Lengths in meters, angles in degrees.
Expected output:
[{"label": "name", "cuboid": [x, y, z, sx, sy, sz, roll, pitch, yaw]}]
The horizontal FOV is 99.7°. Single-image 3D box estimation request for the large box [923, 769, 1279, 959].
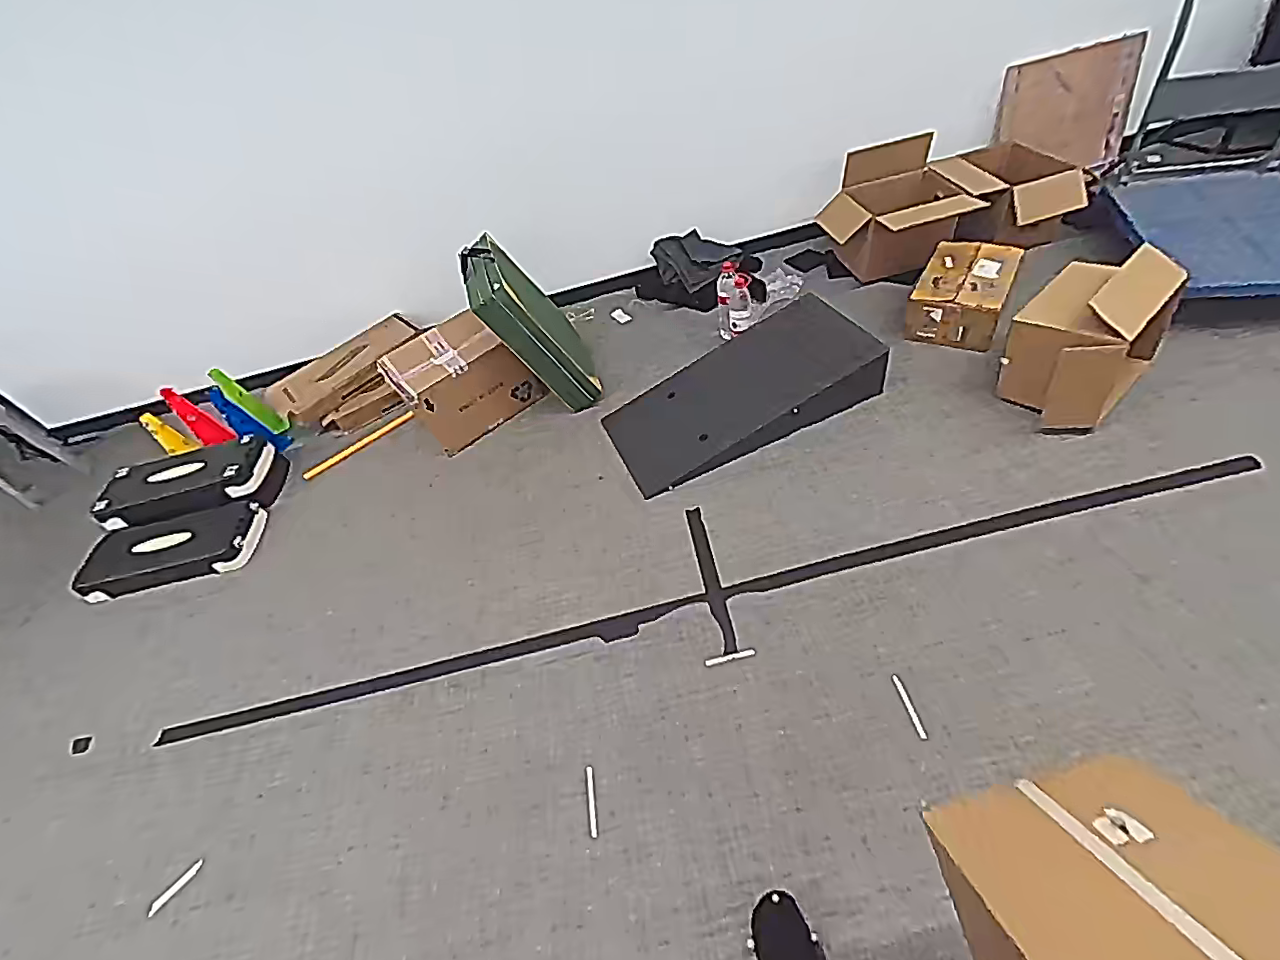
[{"label": "large box", "cuboid": [0.617, 0.619, 0.622, 0.320, 0.408, 0.320, -18, 86, 3]}]
